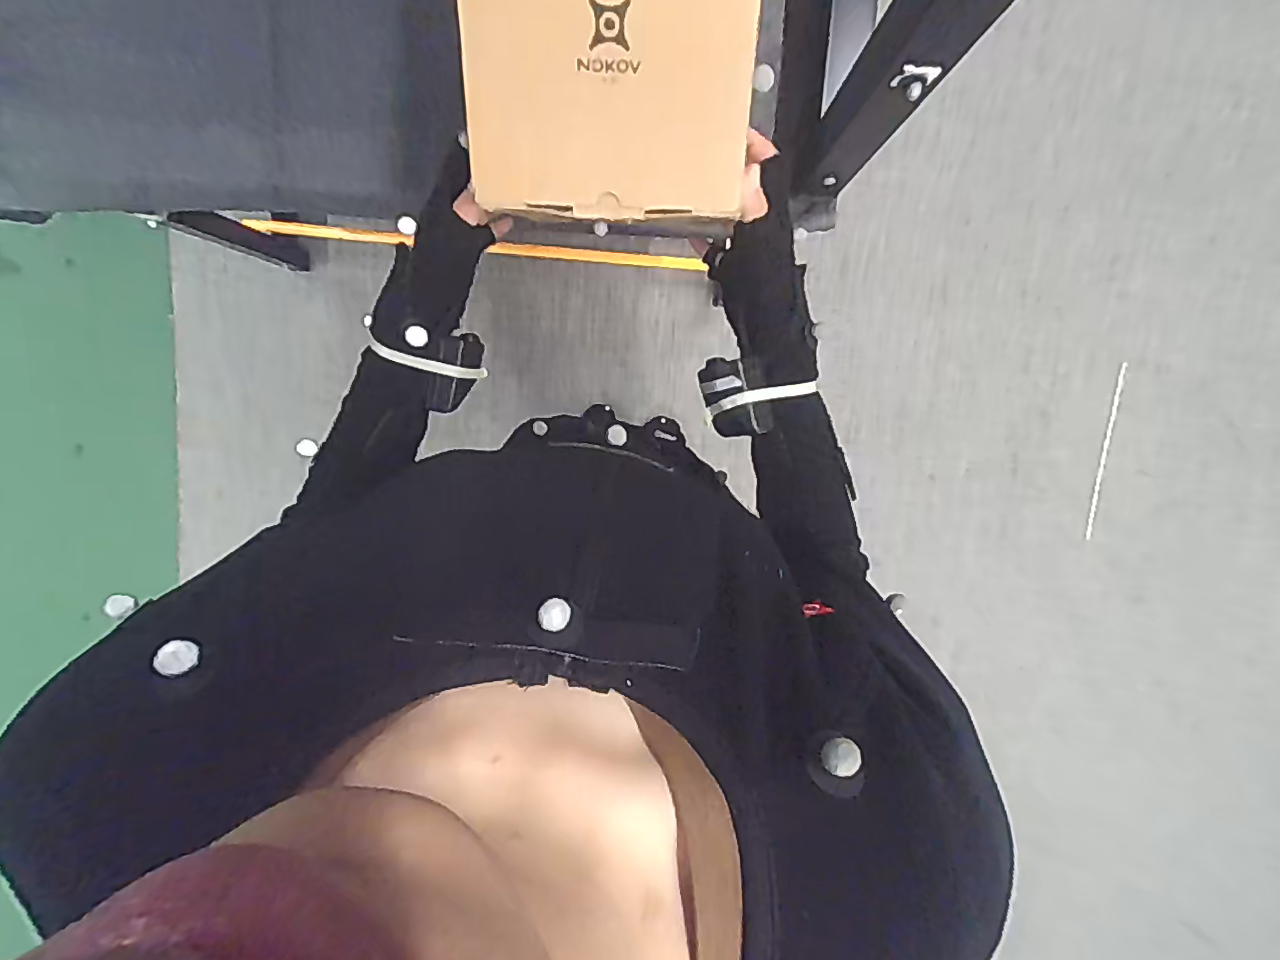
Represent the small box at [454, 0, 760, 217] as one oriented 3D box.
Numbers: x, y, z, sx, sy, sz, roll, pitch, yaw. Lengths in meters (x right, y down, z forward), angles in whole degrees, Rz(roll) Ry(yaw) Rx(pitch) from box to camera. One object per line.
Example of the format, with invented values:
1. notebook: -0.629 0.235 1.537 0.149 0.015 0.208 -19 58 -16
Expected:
1. small box: -0.018 -0.280 0.363 0.168 0.176 0.179 2 114 0
